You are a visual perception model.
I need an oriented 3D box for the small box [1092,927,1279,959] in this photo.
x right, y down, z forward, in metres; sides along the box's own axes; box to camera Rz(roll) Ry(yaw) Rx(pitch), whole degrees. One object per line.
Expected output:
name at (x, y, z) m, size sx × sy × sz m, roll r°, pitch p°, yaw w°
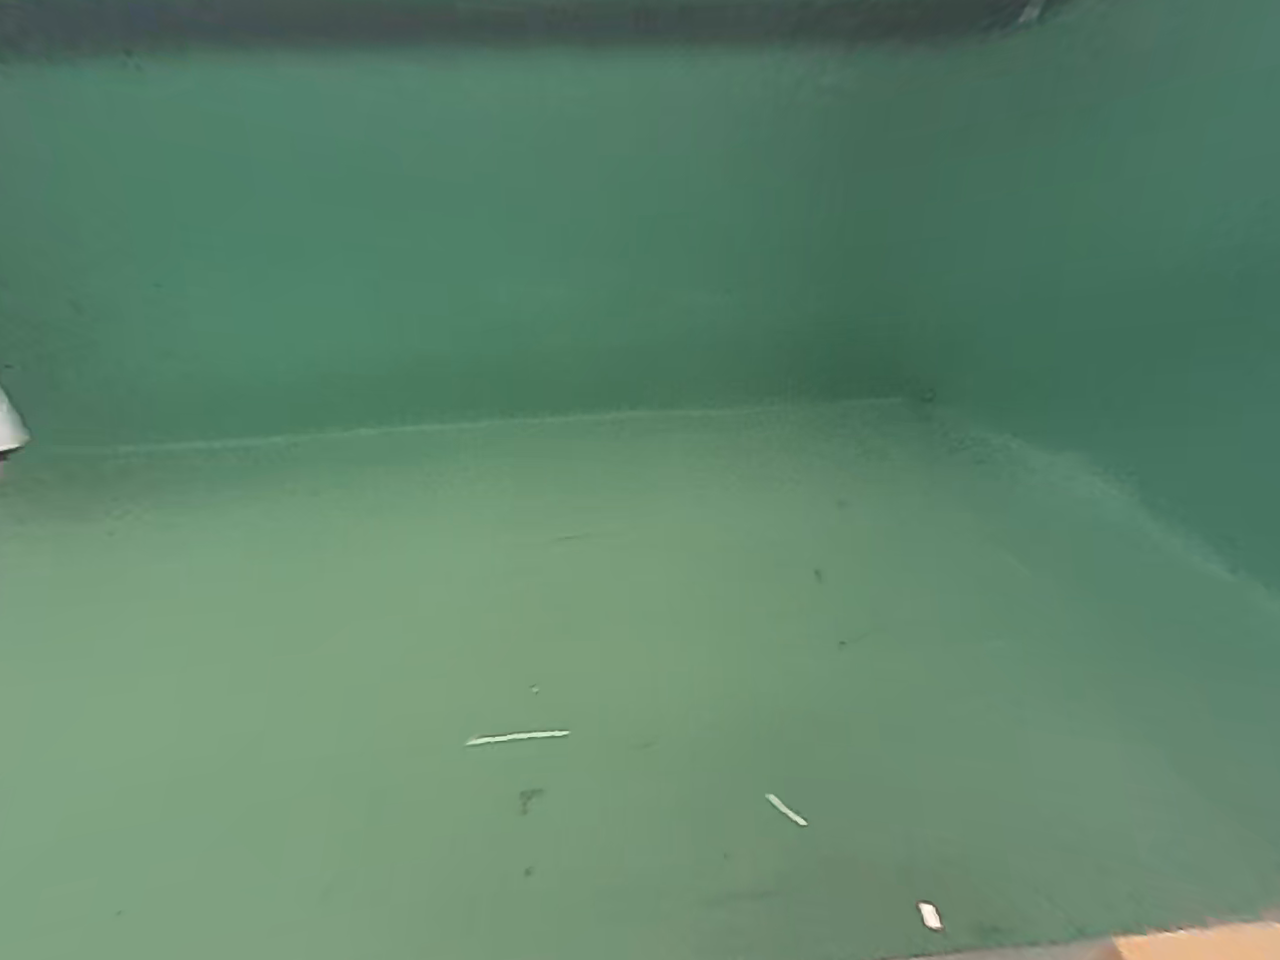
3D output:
small box at (0.513, 0.526, 0.461) m, size 0.168 × 0.176 × 0.179 m, roll -2°, pitch 31°, yaw -3°
